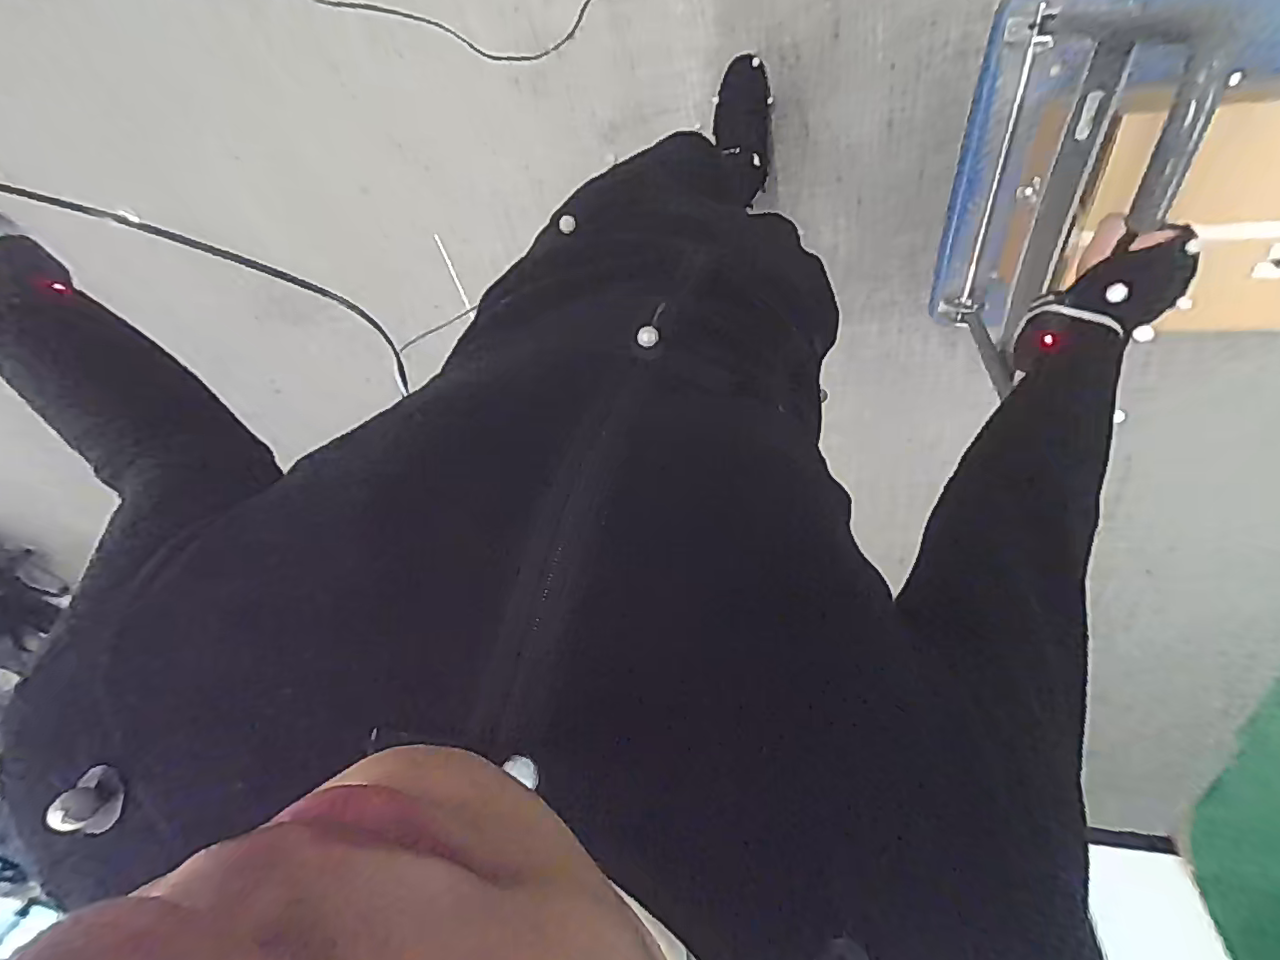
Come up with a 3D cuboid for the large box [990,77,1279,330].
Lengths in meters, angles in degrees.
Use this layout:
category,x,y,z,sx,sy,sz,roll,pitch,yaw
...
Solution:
category,x,y,z,sx,sy,sz,roll,pitch,yaw
large box,0.883,-0.461,0.904,0.408,0.320,0.320,3,129,14
